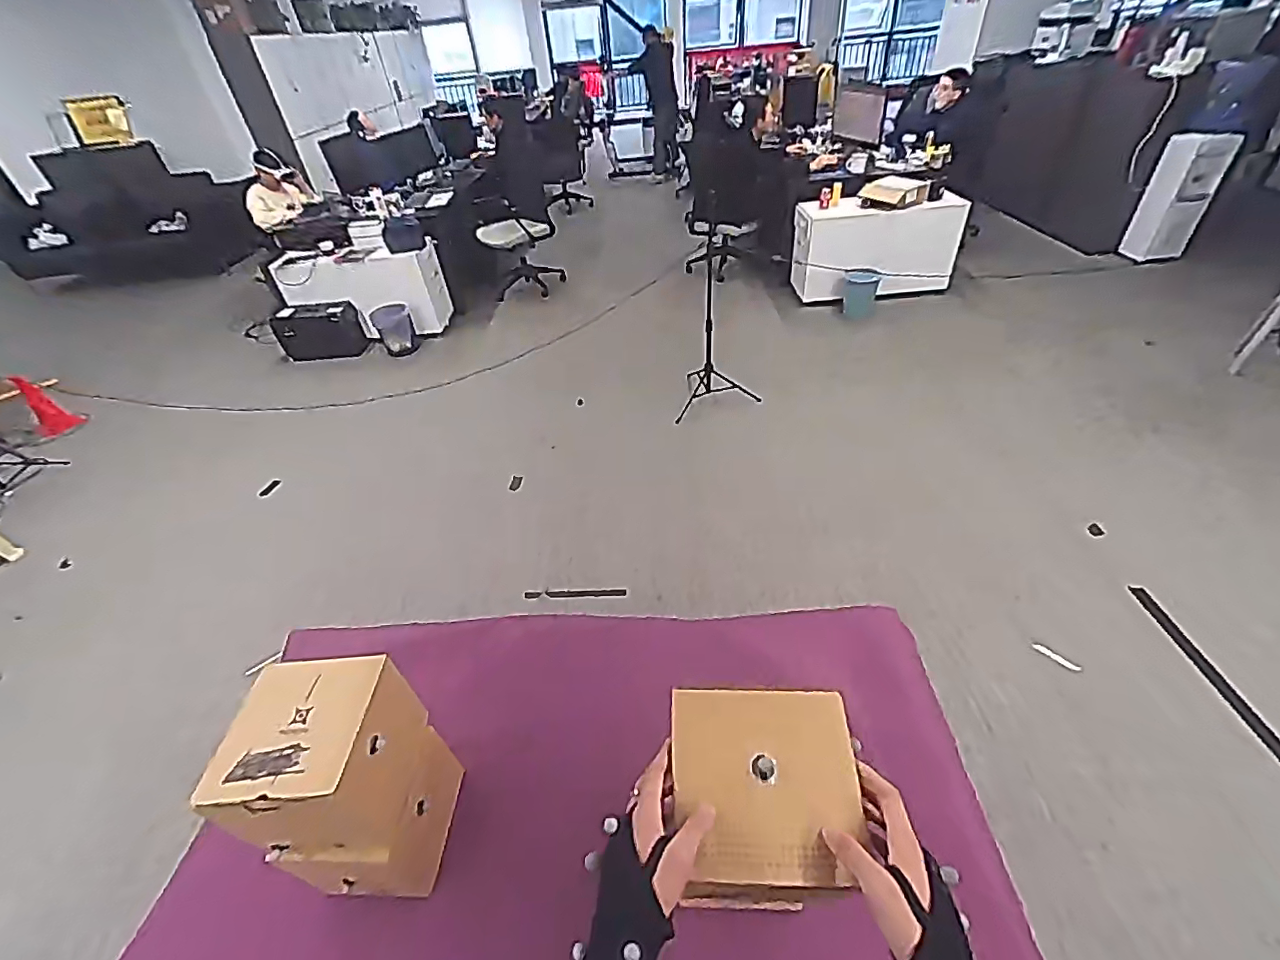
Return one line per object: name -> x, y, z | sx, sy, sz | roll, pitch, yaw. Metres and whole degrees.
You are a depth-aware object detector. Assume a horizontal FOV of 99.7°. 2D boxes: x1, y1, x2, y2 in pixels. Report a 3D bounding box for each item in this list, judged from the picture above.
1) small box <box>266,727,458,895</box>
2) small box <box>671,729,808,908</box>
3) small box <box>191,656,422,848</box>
small box -> -0.388, 0.486, 0.796 | 0.168, 0.176, 0.179 | -1, 40, 4
small box -> 0.130, 0.472, 0.754 | 0.168, 0.176, 0.179 | -2, 40, 5
small box -> -0.405, 0.354, 0.699 | 0.168, 0.176, 0.179 | -4, 40, 1
